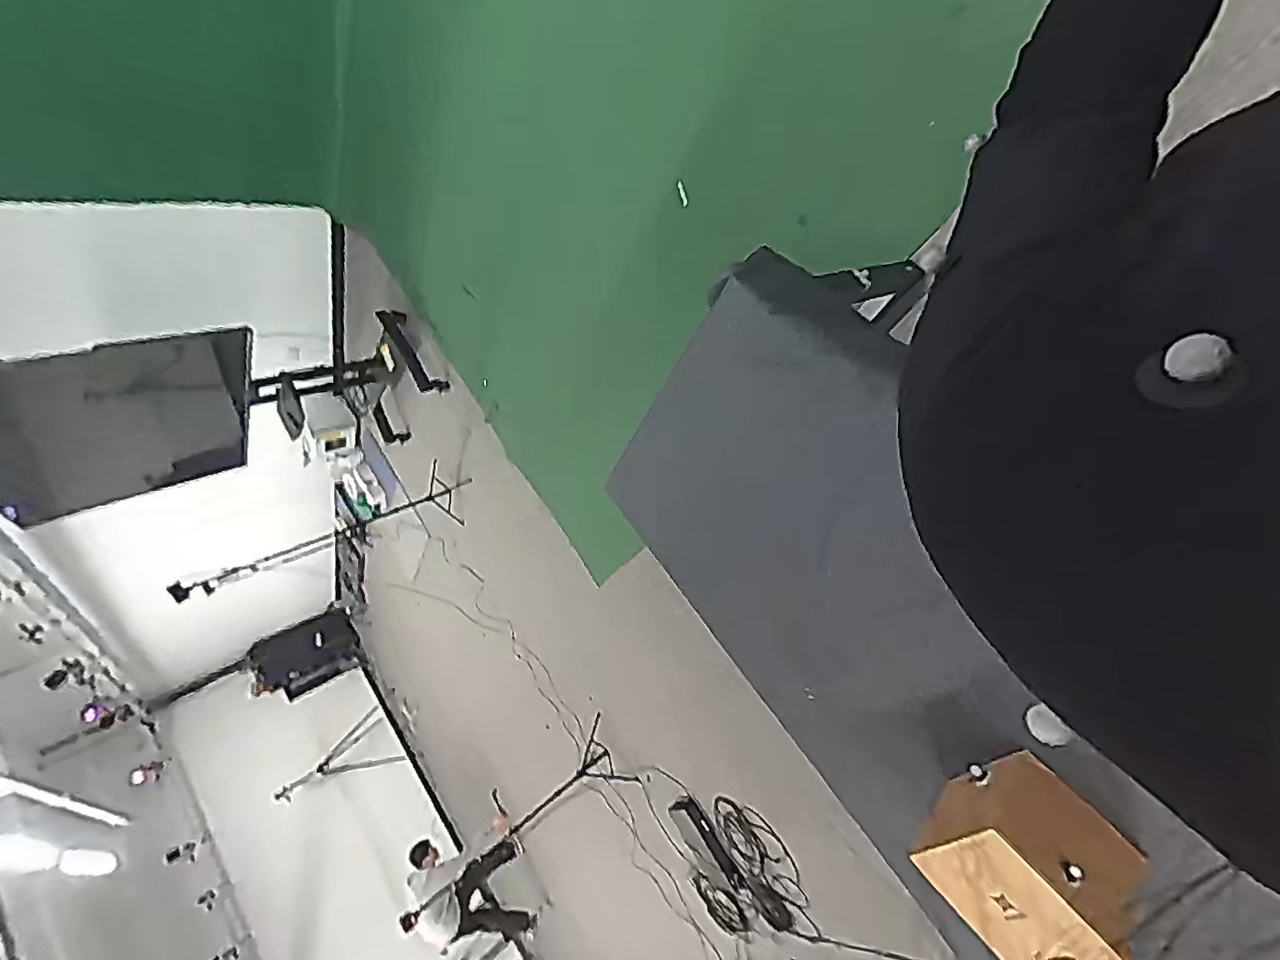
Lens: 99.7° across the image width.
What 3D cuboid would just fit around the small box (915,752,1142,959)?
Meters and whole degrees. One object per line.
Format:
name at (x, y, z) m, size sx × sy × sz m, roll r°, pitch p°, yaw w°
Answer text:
small box at (0.528, 0.519, 0.738) m, size 0.179 × 0.176 × 0.168 m, roll 46°, pitch 135°, yaw 24°
